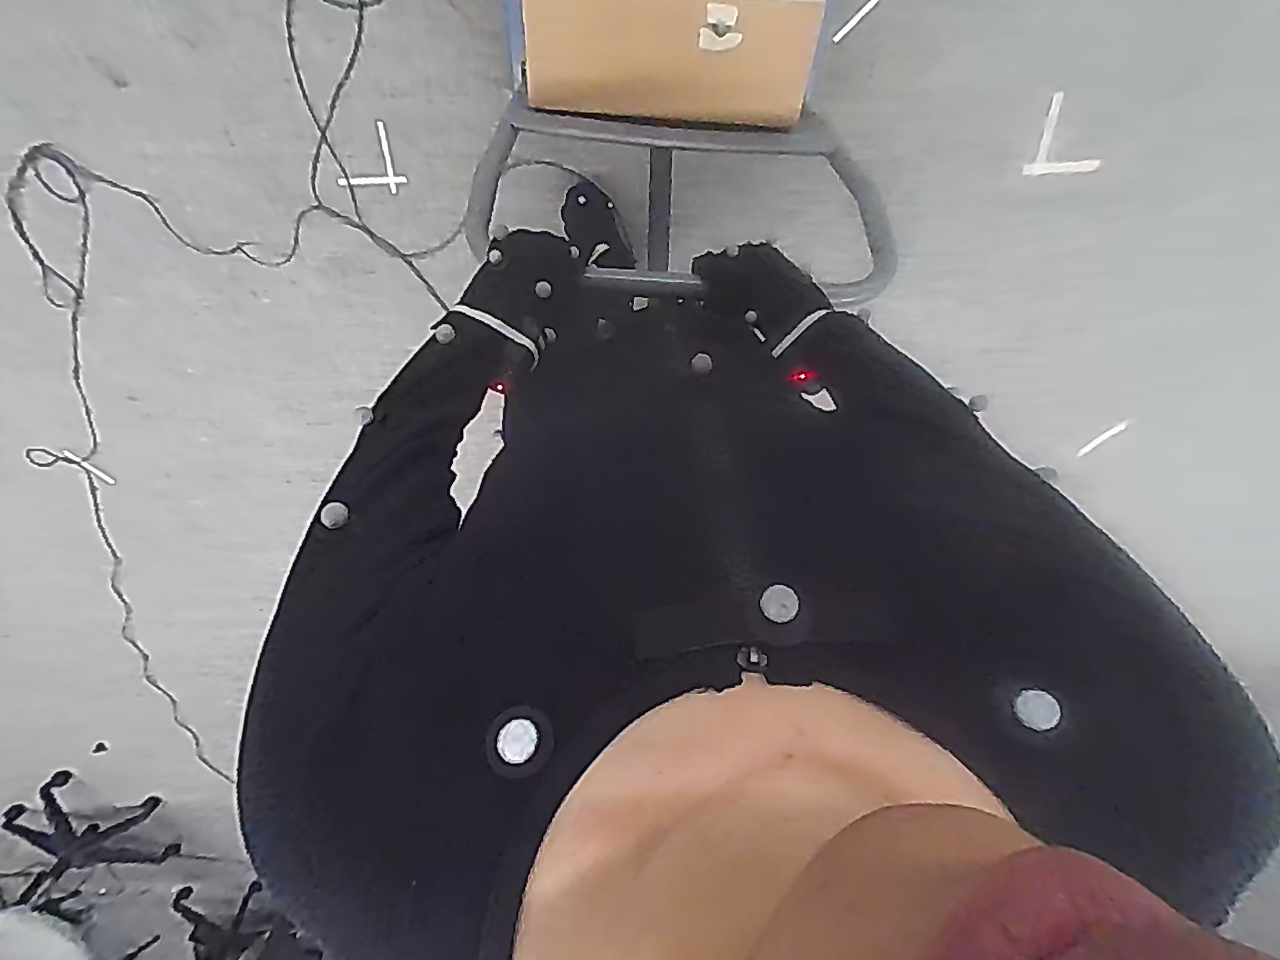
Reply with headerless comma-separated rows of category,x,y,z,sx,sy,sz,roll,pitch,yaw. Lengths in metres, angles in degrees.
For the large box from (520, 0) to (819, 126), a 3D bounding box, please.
large box,0.035,-0.748,0.804,0.408,0.320,0.320,1,135,-4
